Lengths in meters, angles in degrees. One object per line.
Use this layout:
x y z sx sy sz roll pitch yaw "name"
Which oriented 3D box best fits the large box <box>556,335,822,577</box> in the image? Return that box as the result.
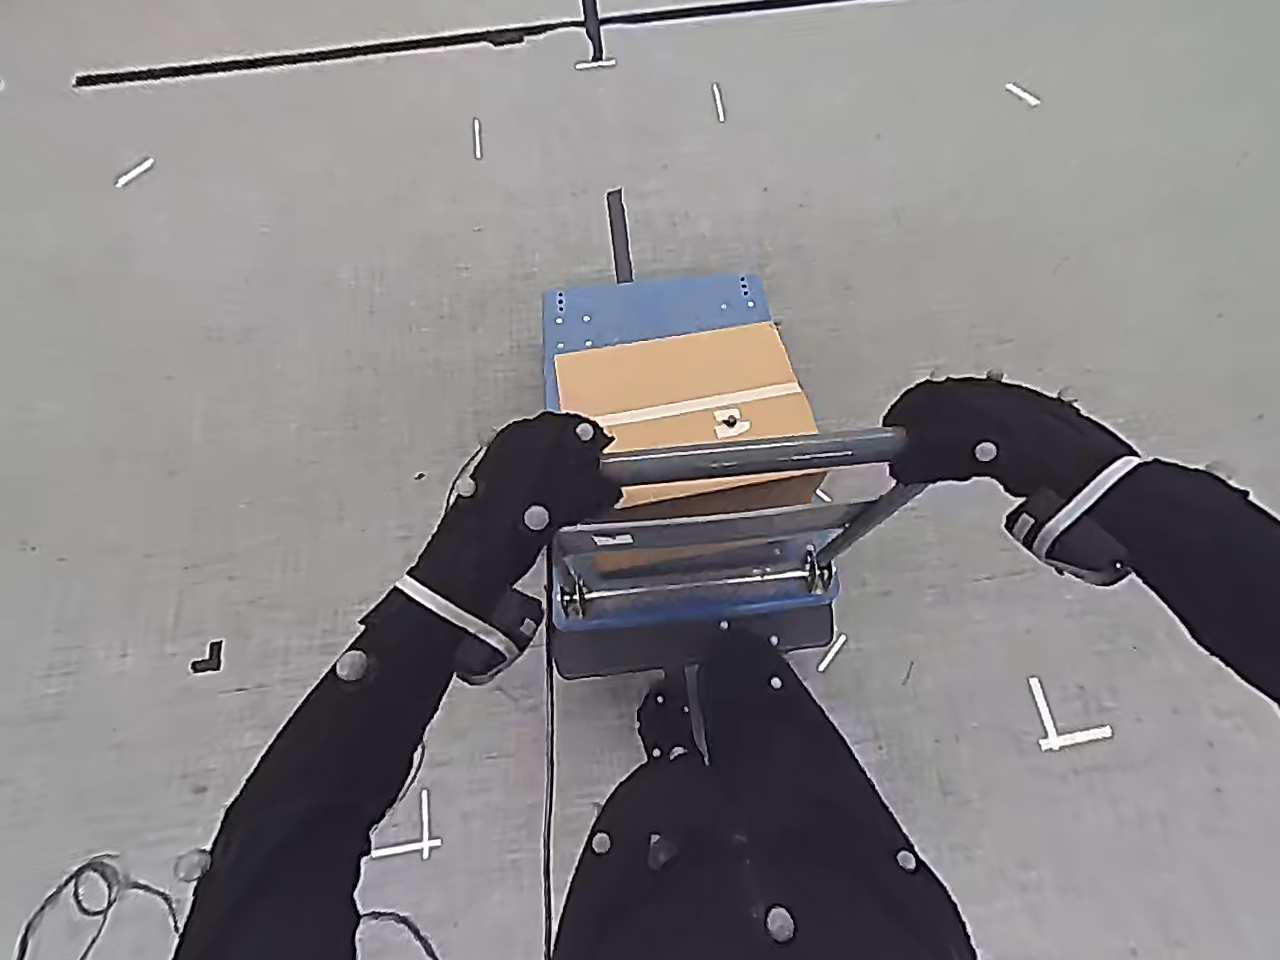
0.072 -0.034 1.052 0.408 0.320 0.320 -10 64 -5 "large box"
